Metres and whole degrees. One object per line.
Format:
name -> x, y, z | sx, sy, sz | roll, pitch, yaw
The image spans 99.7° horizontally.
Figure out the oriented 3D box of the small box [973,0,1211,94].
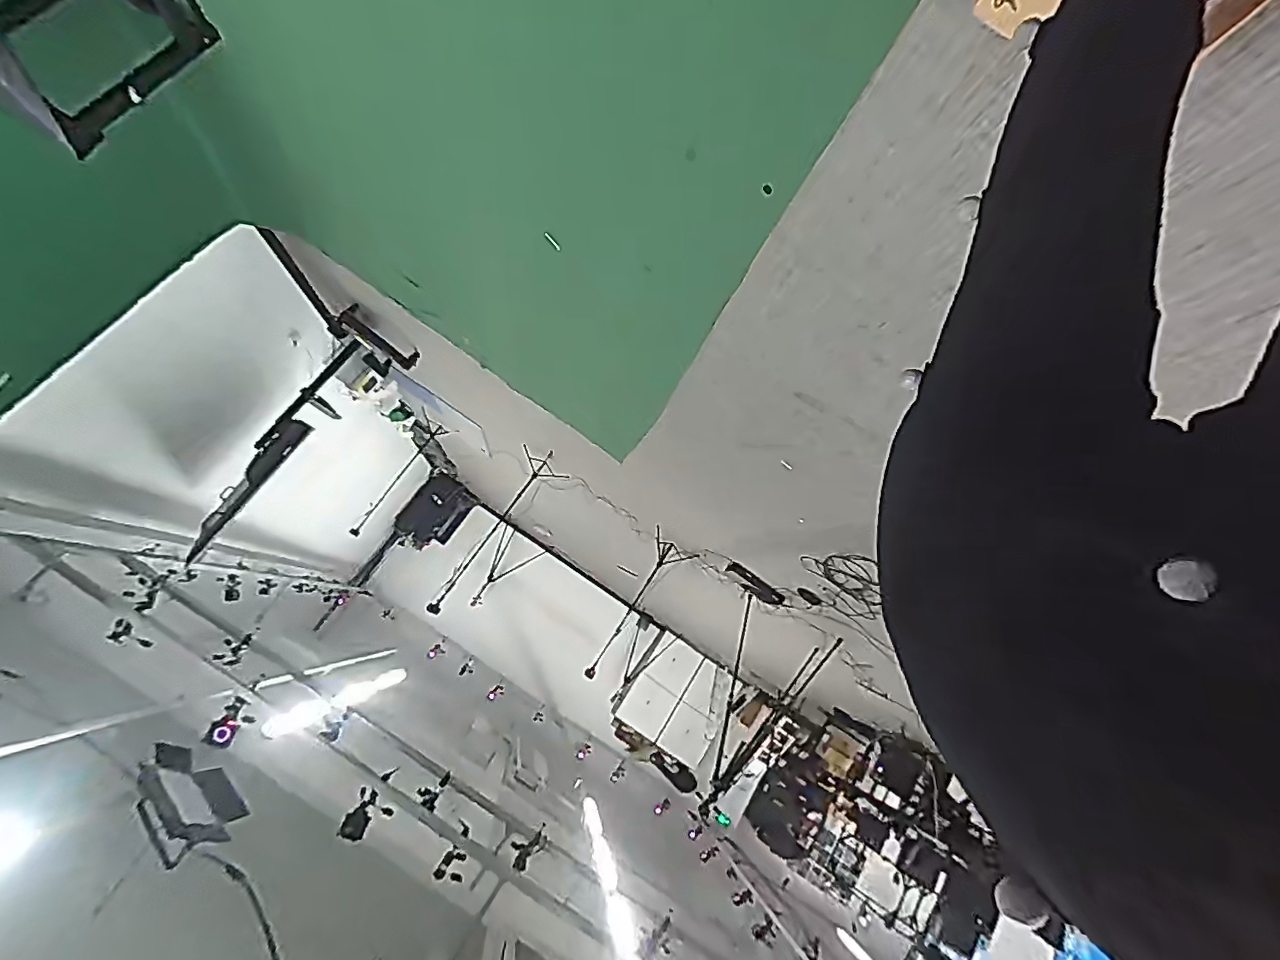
small box -> 0.481, -0.542, 0.526 | 0.179, 0.176, 0.168 | 32, 163, 1
